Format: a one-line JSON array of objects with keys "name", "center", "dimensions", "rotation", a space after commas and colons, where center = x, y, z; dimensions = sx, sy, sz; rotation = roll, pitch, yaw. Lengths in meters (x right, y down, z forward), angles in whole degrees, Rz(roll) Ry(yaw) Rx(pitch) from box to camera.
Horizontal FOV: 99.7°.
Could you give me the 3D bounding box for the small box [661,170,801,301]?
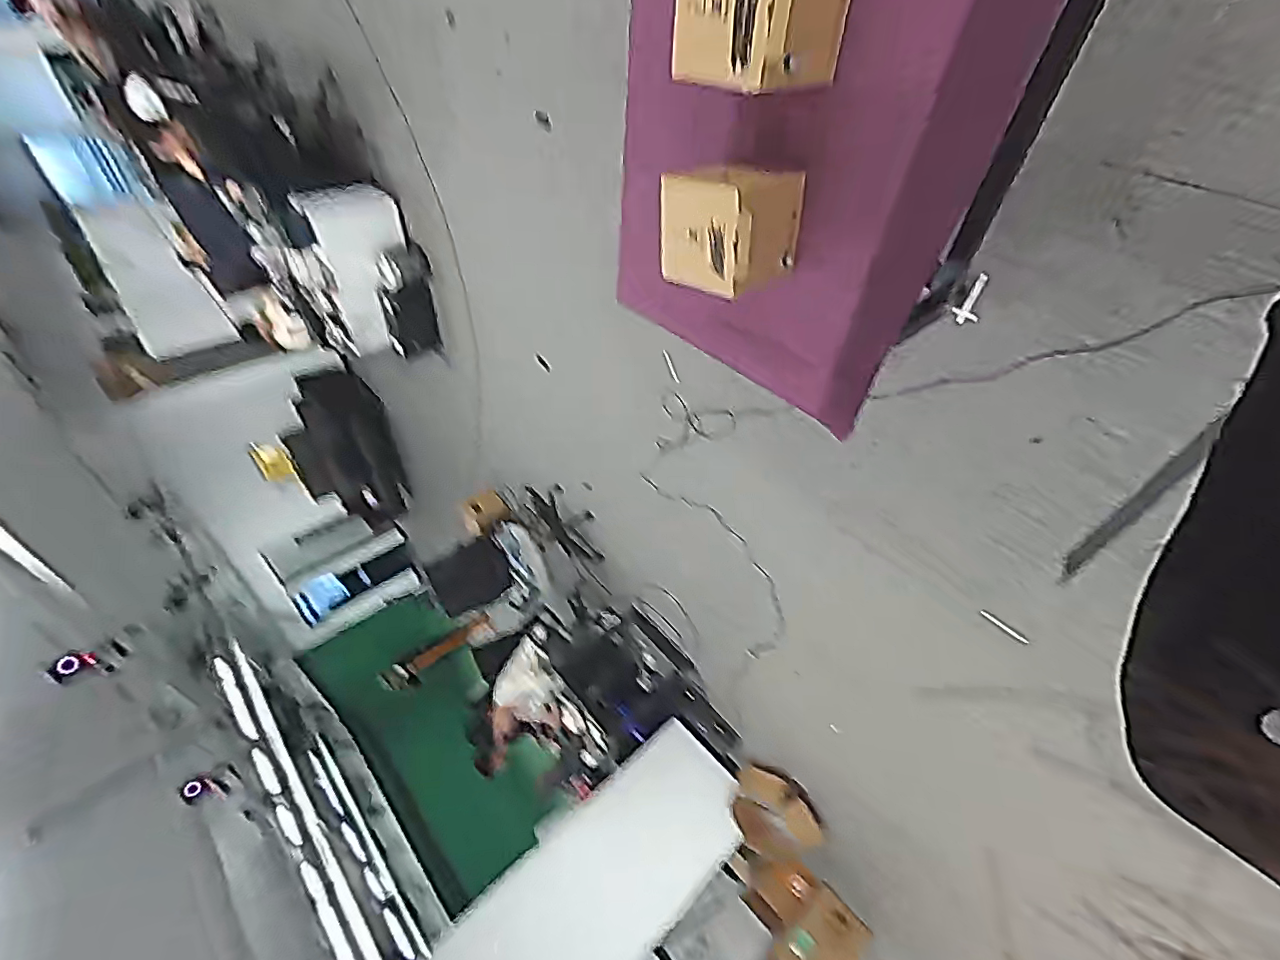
[{"name": "small box", "center": [0.156, -0.431, 0.941], "dimensions": [0.179, 0.176, 0.168], "rotation": [33, 140, 37]}]
